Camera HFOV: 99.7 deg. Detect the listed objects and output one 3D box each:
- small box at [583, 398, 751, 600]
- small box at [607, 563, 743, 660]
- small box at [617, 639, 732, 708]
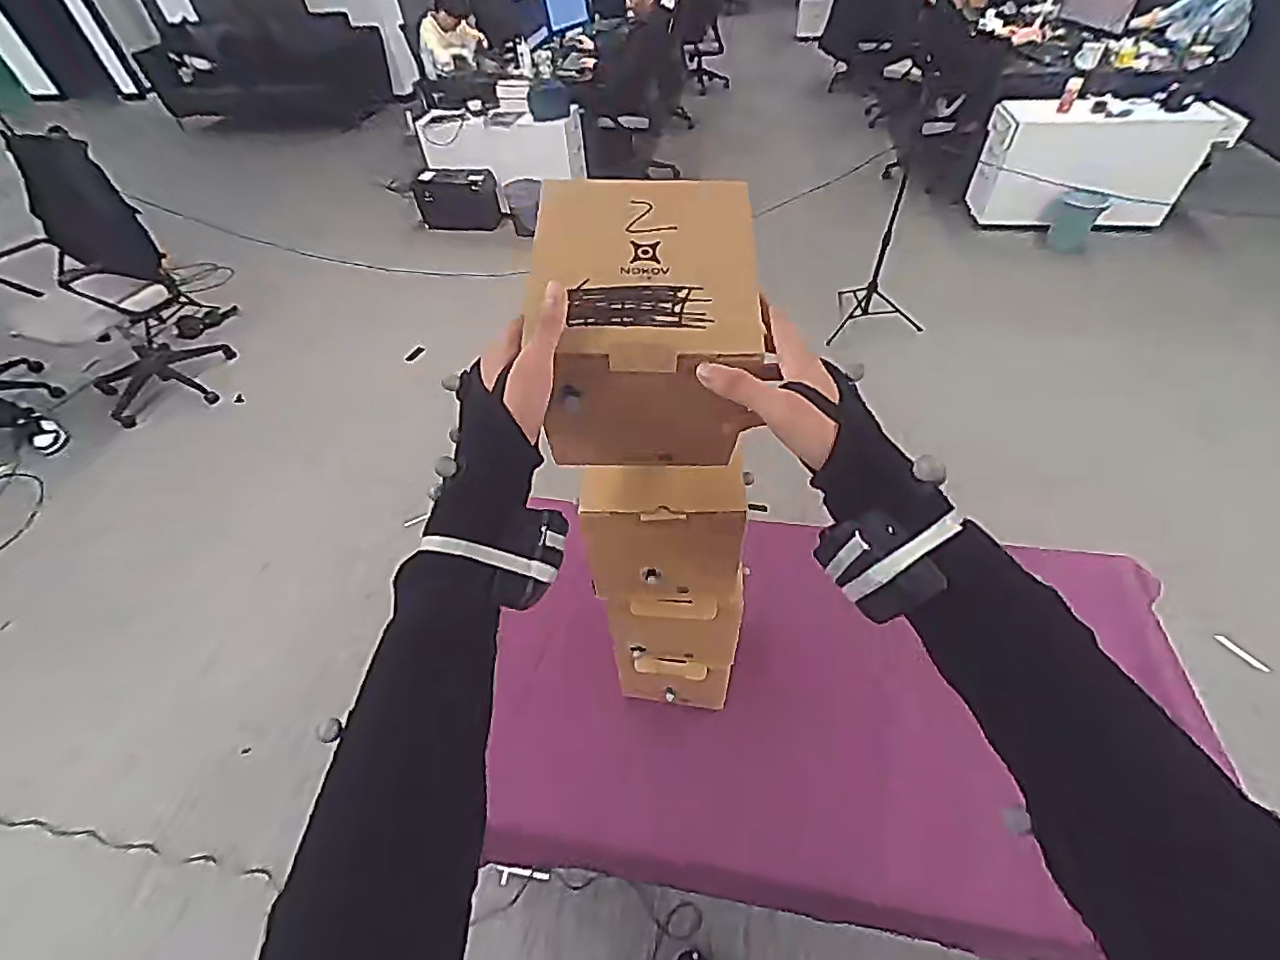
[{"bbox_3d":[0.031,0.022,0.635,0.168,0.176,0.179,-1,49,3],"label":"small box"},{"bbox_3d":[0.054,0.134,0.753,0.168,0.176,0.179,2,48,6],"label":"small box"},{"bbox_3d":[0.064,0.243,0.875,0.168,0.176,0.179,5,49,9],"label":"small box"}]
